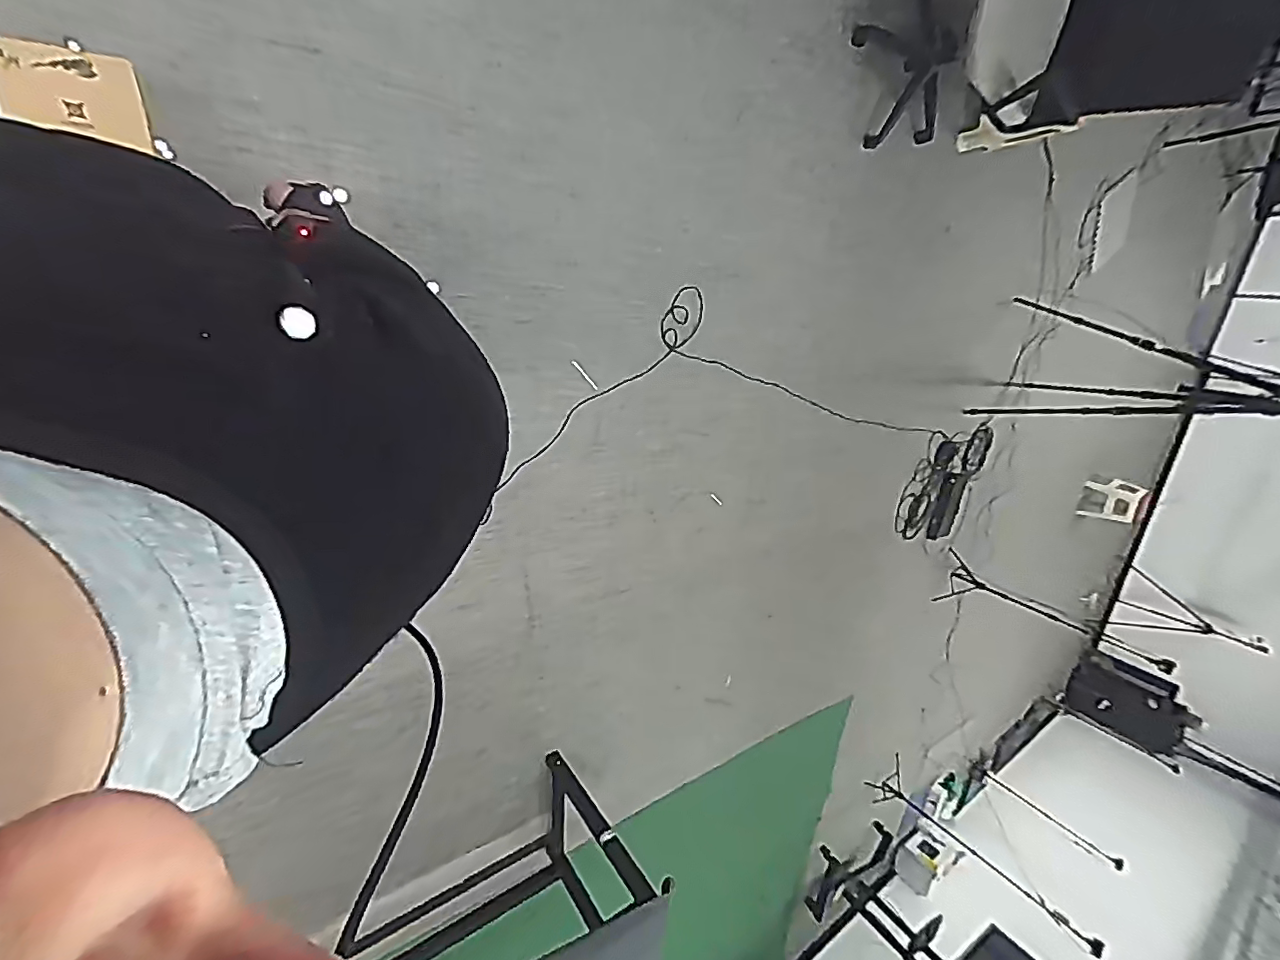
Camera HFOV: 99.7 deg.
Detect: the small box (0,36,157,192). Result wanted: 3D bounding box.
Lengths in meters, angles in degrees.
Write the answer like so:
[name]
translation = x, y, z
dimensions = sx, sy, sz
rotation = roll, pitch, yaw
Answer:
[small box]
translation = -0.893, -0.560, 0.849
dimensions = 0.168, 0.176, 0.179
rotation = -13, 117, -34
